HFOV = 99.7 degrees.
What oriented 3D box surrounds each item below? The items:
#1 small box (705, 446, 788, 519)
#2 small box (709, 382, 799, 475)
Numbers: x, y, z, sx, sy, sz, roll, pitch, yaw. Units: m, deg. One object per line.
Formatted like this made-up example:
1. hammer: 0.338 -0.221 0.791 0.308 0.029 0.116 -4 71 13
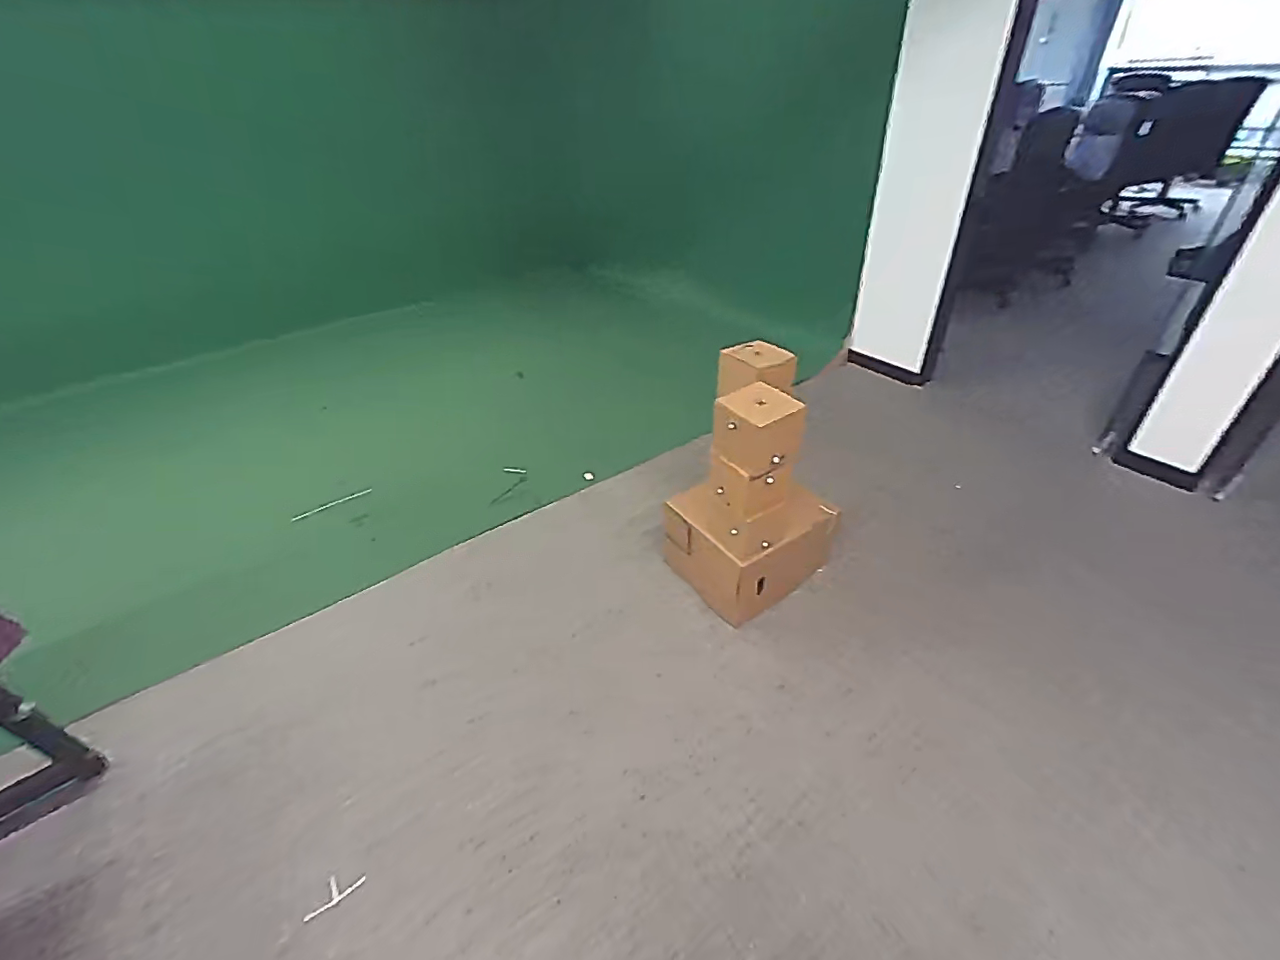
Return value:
1. small box: 0.305 -0.016 1.586 0.179 0.176 0.168 -22 42 -22
2. small box: 0.304 -0.141 1.482 0.168 0.176 0.179 -25 44 -24
